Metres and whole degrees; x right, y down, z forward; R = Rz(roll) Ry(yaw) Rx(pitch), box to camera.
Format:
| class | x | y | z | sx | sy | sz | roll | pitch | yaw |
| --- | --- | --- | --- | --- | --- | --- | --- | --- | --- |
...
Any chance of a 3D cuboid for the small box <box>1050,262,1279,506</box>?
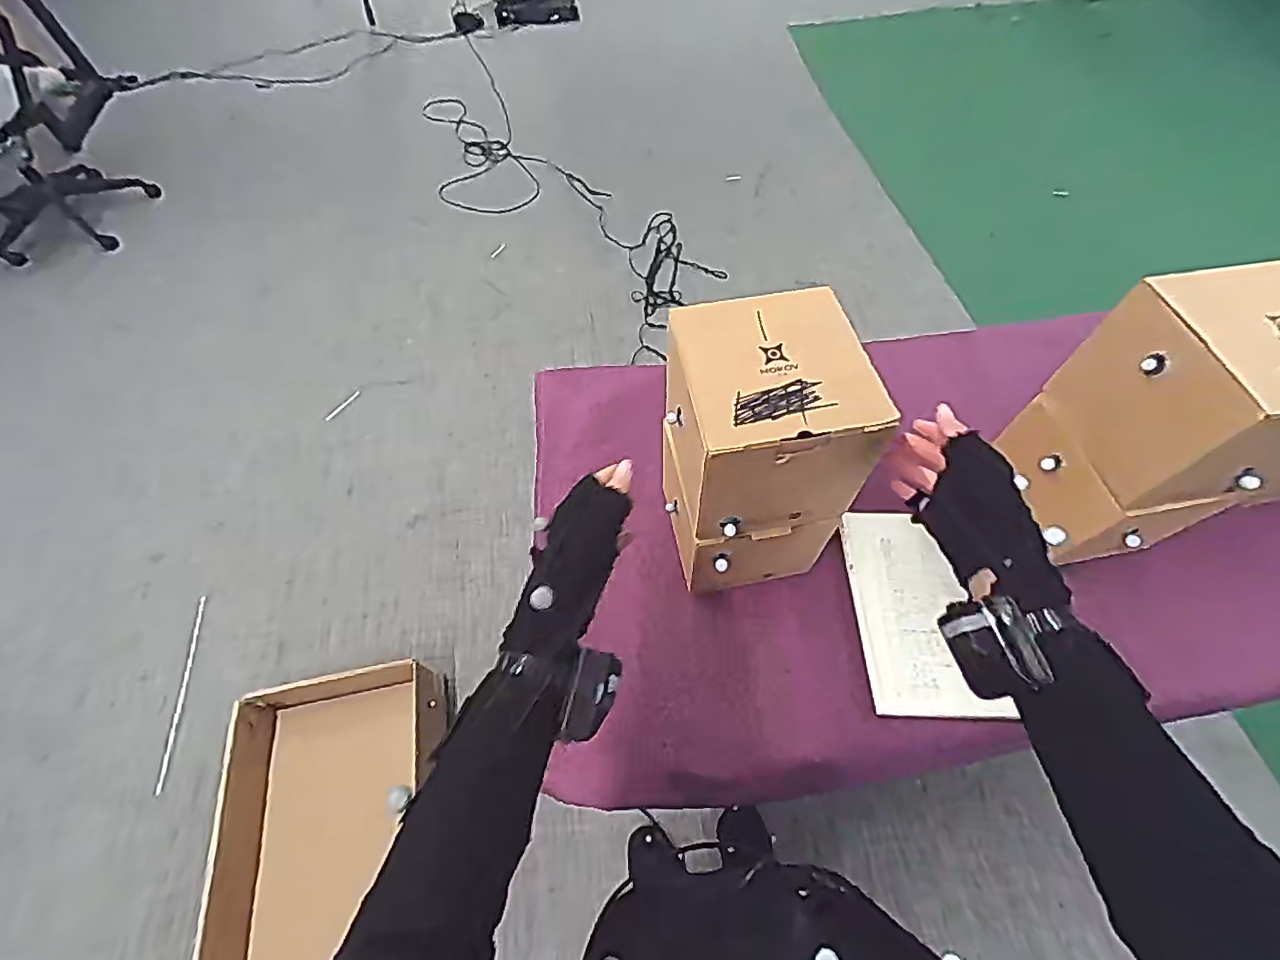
| class | x | y | z | sx | sy | sz | roll | pitch | yaw |
| --- | --- | --- | --- | --- | --- | --- | --- | --- | --- |
| small box | 0.583 | -0.094 | 0.559 | 0.168 | 0.176 | 0.179 | -7 | 60 | -2 |

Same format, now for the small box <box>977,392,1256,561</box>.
| class | x | y | z | sx | sy | sz | roll | pitch | yaw |
| --- | --- | --- | --- | --- | --- | --- | --- | --- | --- |
| small box | 0.587 | -0.006 | 0.699 | 0.168 | 0.176 | 0.179 | -10 | 60 | -3 |

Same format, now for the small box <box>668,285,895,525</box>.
| class | x | y | z | sx | sy | sz | roll | pitch | yaw |
| --- | --- | --- | --- | --- | --- | --- | --- | --- | --- |
| small box | 0.124 | -0.066 | 0.555 | 0.168 | 0.176 | 0.179 | -9 | 58 | -3 |
